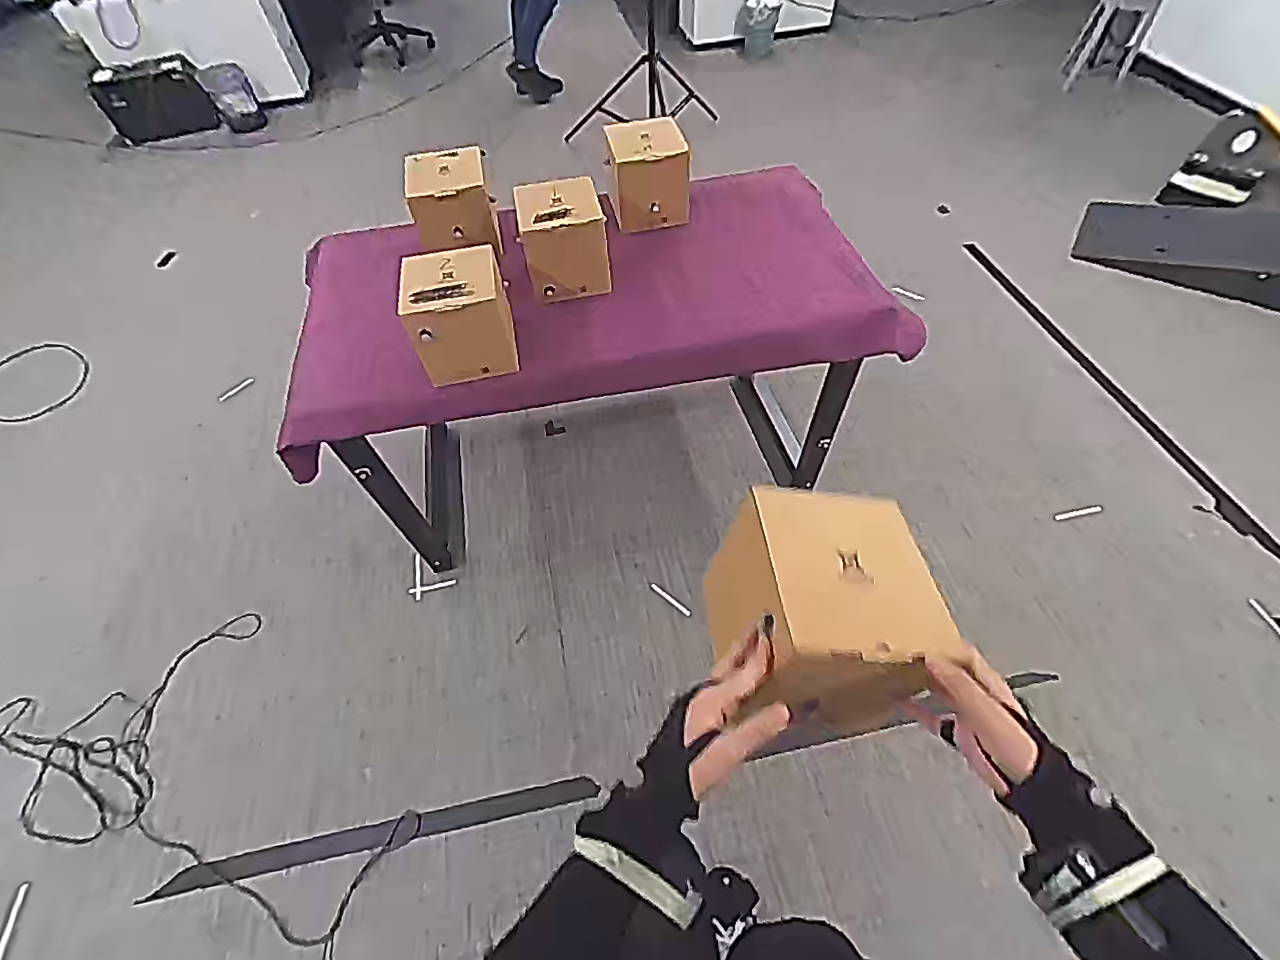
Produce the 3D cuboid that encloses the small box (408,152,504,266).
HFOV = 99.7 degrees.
[{"bbox_3d":[-0.416,-0.610,1.236,0.168,0.176,0.179,-12,58,-6],"label":"small box"}]

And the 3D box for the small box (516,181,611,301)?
[{"bbox_3d":[-0.159,-0.499,1.149,0.168,0.176,0.179,-11,55,-5],"label":"small box"}]

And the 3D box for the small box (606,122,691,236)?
[{"bbox_3d":[0.019,-0.711,1.281,0.168,0.176,0.179,-12,57,-4],"label":"small box"}]
